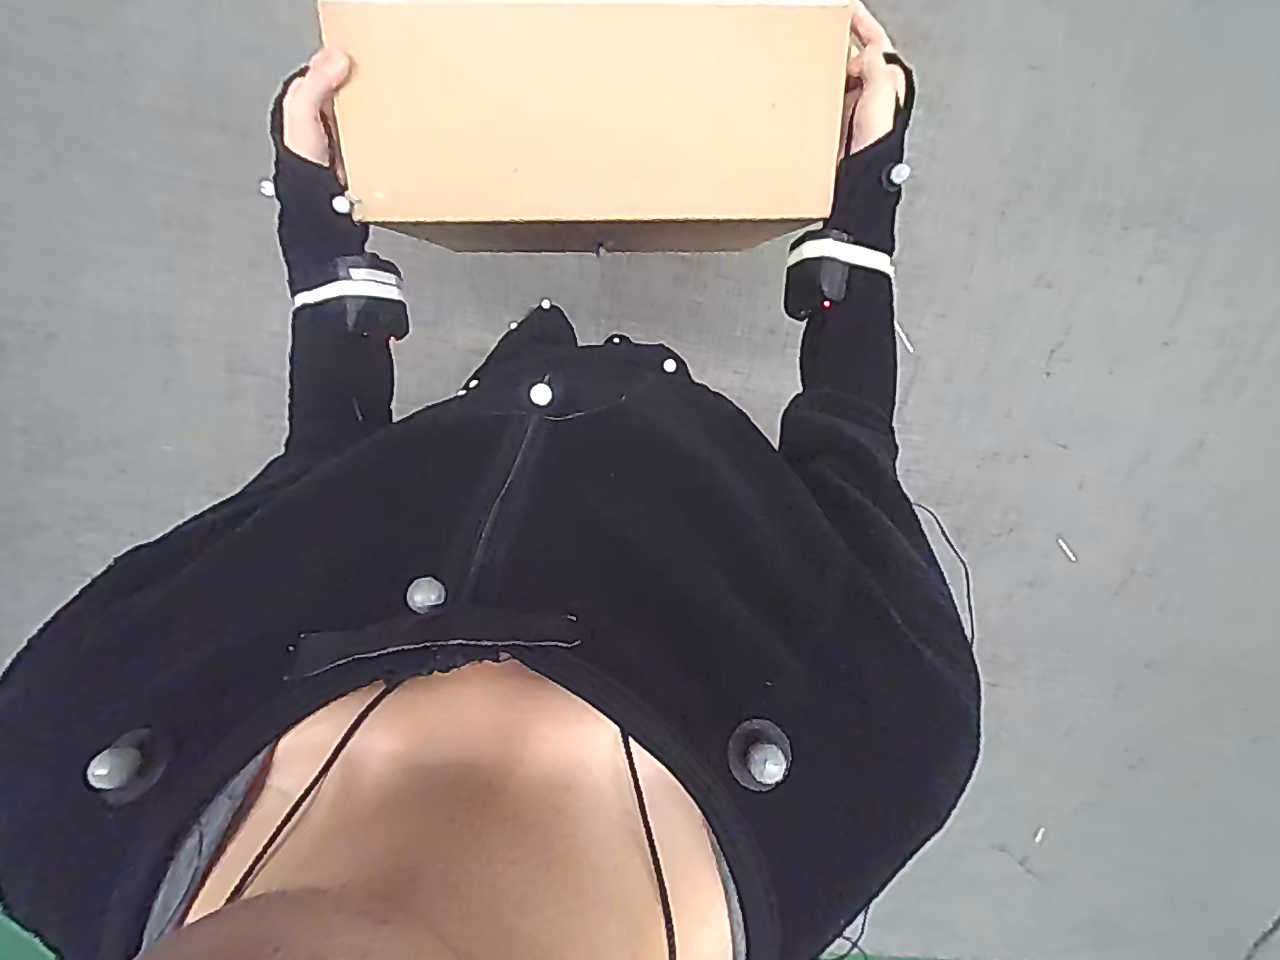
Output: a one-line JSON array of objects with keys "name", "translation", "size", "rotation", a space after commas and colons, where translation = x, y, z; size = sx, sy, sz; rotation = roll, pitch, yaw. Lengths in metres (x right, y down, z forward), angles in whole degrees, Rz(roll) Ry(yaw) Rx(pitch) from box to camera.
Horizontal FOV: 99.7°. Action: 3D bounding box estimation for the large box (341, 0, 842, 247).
[{"name": "large box", "translation": [-0.039, -0.426, 0.566], "size": [0.408, 0.320, 0.320], "rotation": [-2, 108, -2]}]
